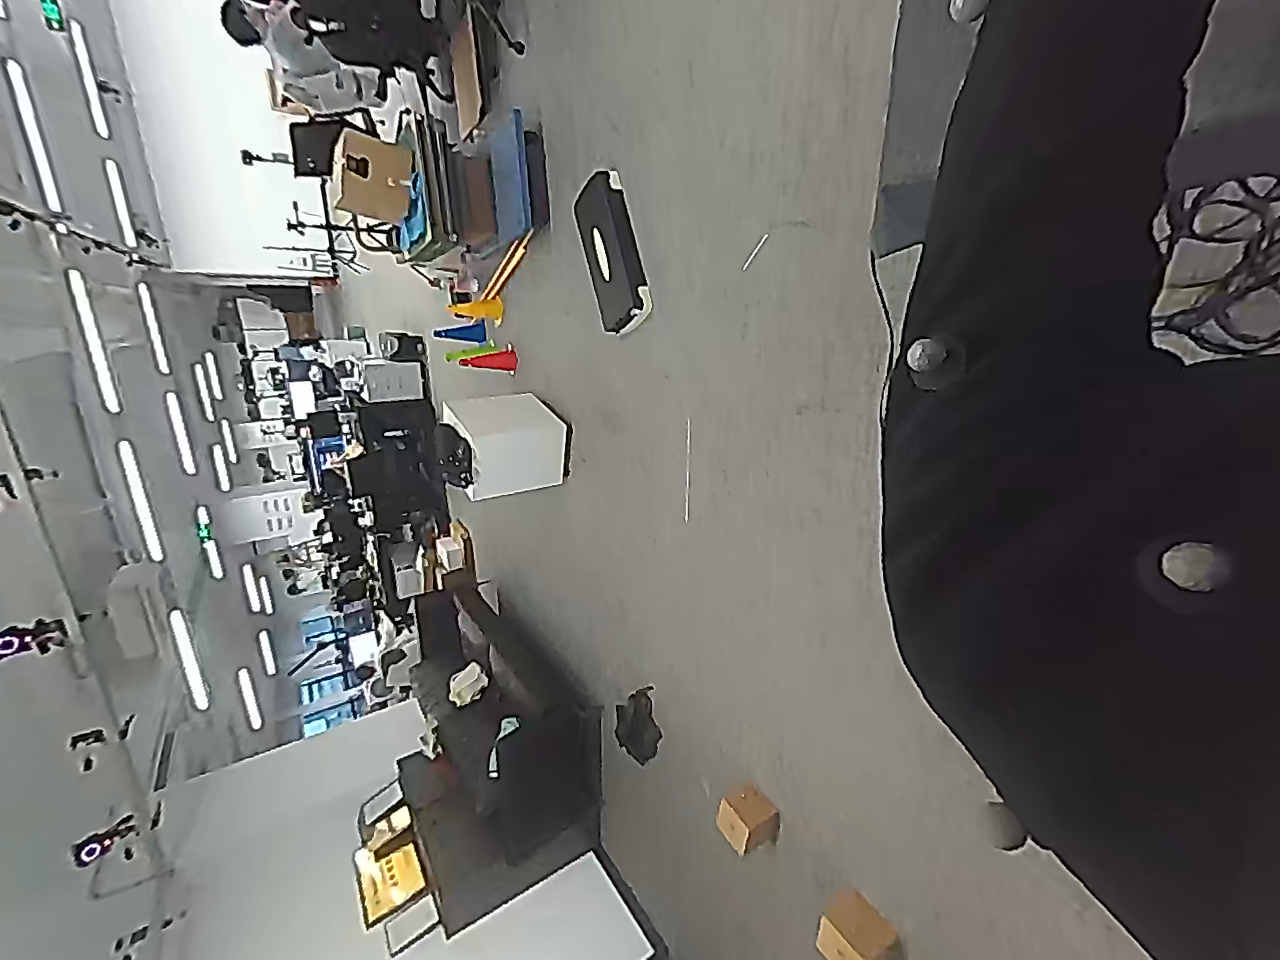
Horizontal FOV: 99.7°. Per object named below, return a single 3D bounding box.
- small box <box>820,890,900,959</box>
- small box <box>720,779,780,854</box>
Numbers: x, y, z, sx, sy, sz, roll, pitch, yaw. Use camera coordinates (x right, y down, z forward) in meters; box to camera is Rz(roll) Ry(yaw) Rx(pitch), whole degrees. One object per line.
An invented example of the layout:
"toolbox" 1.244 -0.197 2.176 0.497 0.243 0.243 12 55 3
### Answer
"small box" 0.751 1.558 1.852 0.179 0.176 0.168 28 123 50
"small box" 0.461 1.395 2.256 0.168 0.176 0.179 35 129 50
